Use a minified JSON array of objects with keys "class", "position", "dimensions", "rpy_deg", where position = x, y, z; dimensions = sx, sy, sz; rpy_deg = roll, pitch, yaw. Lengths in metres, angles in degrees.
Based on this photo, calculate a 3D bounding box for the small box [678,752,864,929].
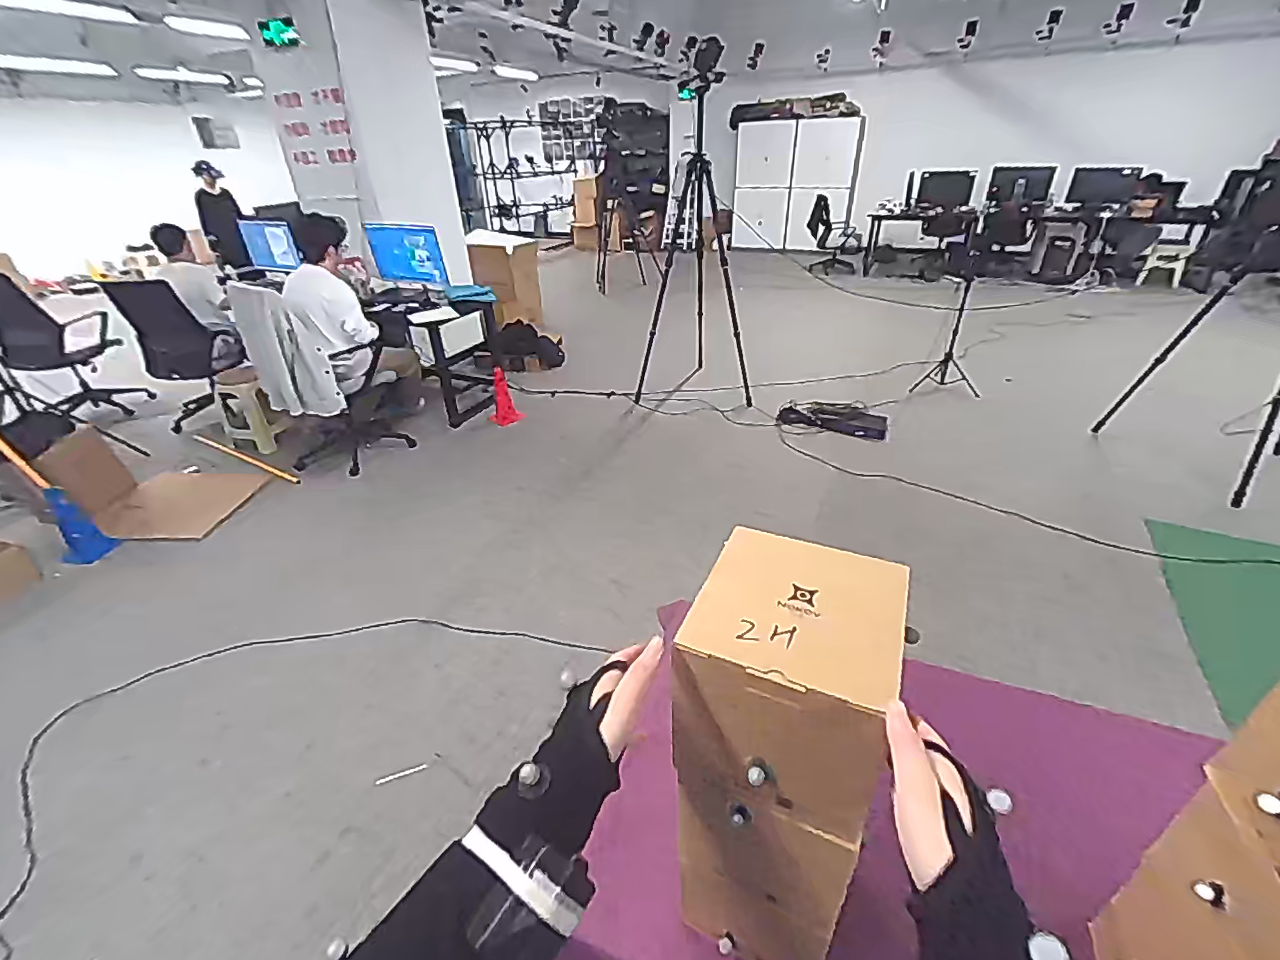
[{"class":"small box","position":[0.148,0.318,0.583],"dimensions":[0.168,0.176,0.179],"rpy_deg":[11,33,25]}]

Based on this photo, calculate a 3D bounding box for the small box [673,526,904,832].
[{"class":"small box","position":[0.136,0.173,0.505],"dimensions":[0.168,0.176,0.179],"rpy_deg":[11,34,23]}]

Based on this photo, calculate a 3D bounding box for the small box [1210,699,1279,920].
[{"class":"small box","position":[0.560,0.241,0.359],"dimensions":[0.179,0.176,0.168],"rpy_deg":[8,32,20]}]

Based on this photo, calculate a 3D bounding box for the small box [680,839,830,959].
[{"class":"small box","position":[0.156,0.459,0.668],"dimensions":[0.168,0.176,0.179],"rpy_deg":[13,35,25]}]

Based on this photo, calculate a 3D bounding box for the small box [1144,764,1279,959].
[{"class":"small box","position":[0.570,0.383,0.440],"dimensions":[0.168,0.176,0.179],"rpy_deg":[10,32,20]}]
